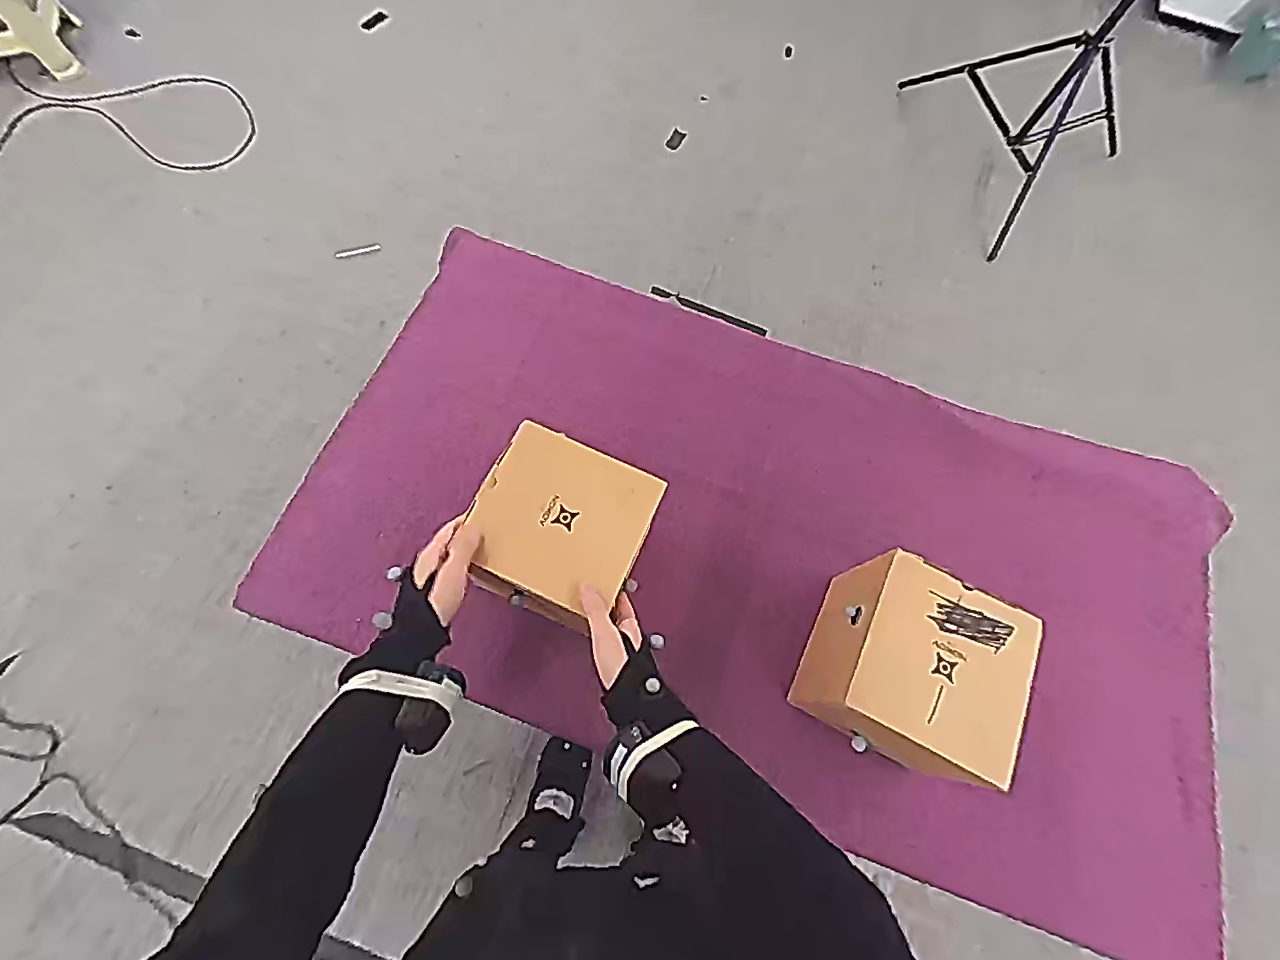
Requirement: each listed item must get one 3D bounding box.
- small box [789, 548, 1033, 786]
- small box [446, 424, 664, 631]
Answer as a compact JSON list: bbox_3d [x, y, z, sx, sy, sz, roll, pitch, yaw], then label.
[{"bbox_3d":[0.293,0.207,0.614,0.168,0.176,0.179,28,70,6],"label":"small box"},{"bbox_3d":[-0.090,0.067,0.635,0.179,0.176,0.168,24,69,4],"label":"small box"}]
